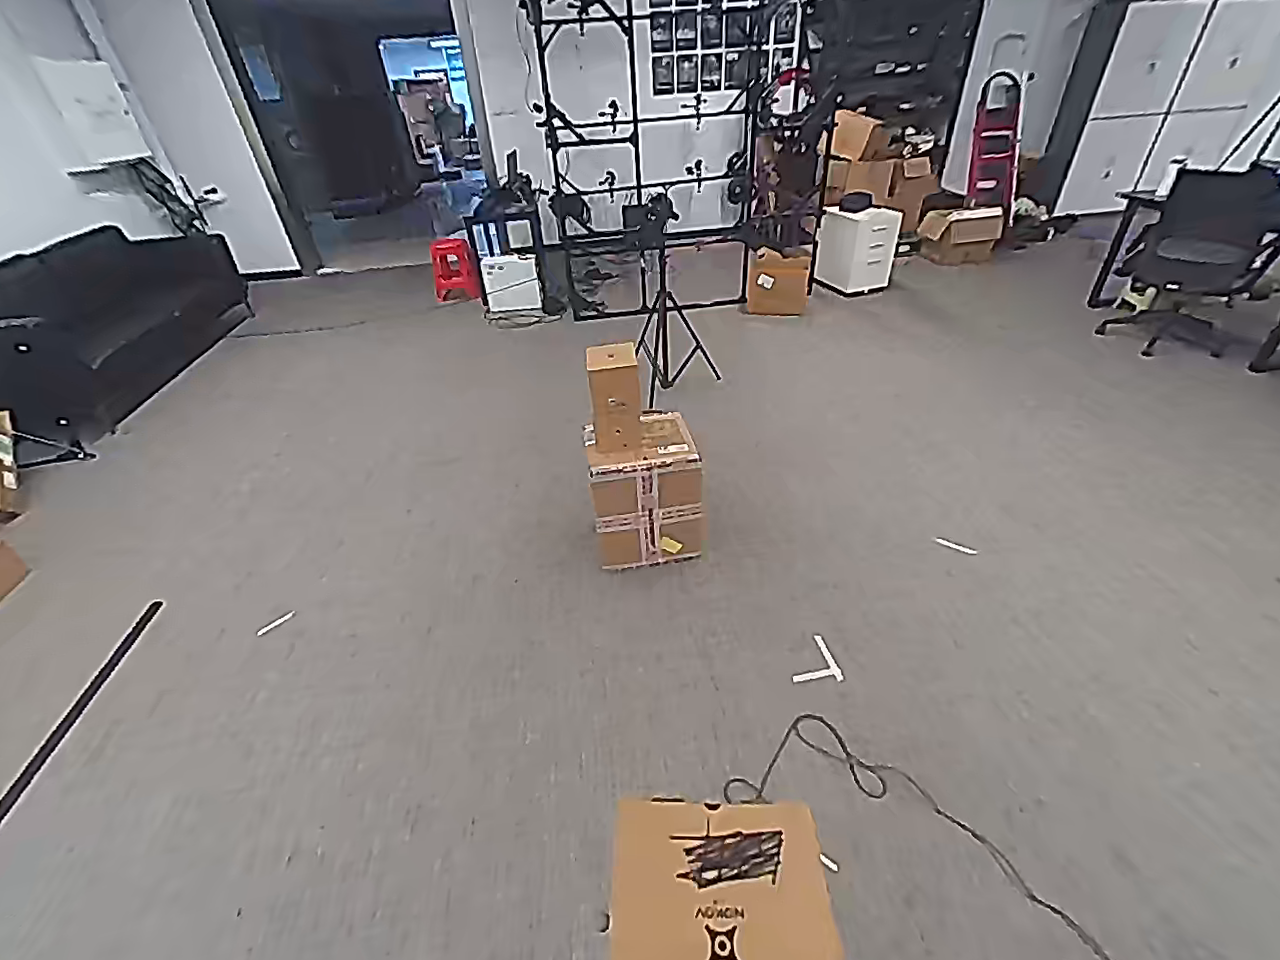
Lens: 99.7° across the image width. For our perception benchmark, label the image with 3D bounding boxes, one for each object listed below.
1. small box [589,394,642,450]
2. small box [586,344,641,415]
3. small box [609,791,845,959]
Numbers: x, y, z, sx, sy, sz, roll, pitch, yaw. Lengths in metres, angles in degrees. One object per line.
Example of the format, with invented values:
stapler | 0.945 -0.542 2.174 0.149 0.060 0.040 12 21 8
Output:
small box | -0.087 -0.218 1.942 0.168 0.176 0.179 -7 39 -2
small box | -0.090 -0.342 1.836 0.168 0.176 0.179 -8 39 -1
small box | 0.058 0.382 0.436 0.168 0.176 0.179 1 38 0
